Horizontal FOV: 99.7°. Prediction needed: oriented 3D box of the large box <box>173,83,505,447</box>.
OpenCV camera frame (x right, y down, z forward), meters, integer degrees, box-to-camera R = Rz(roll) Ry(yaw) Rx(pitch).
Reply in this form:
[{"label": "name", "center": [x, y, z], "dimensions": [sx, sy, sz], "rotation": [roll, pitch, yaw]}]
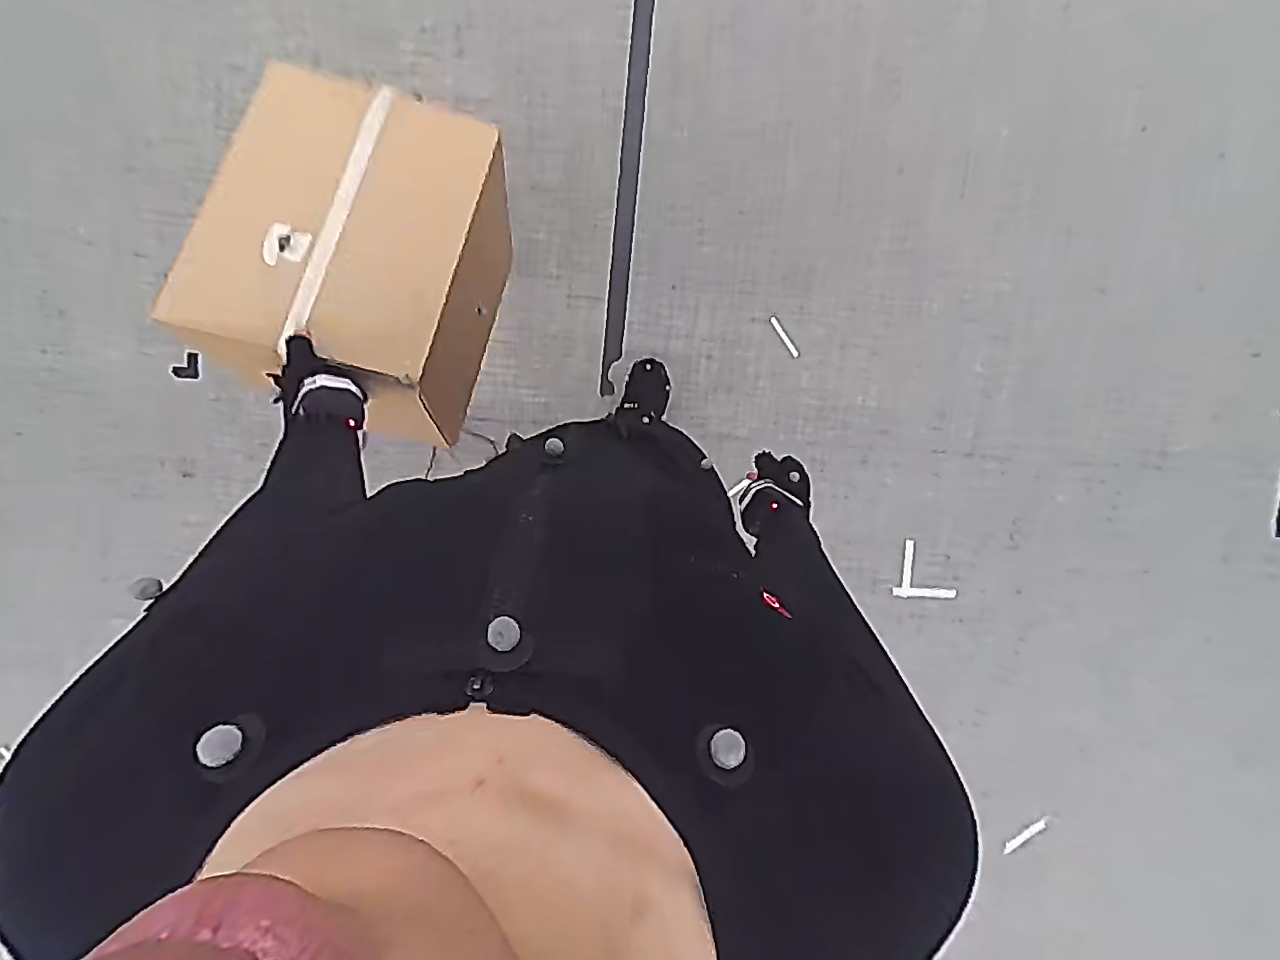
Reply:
[{"label": "large box", "center": [-0.420, -0.309, 0.873], "dimensions": [0.320, 0.320, 0.408], "rotation": [12, 75, -6]}]
